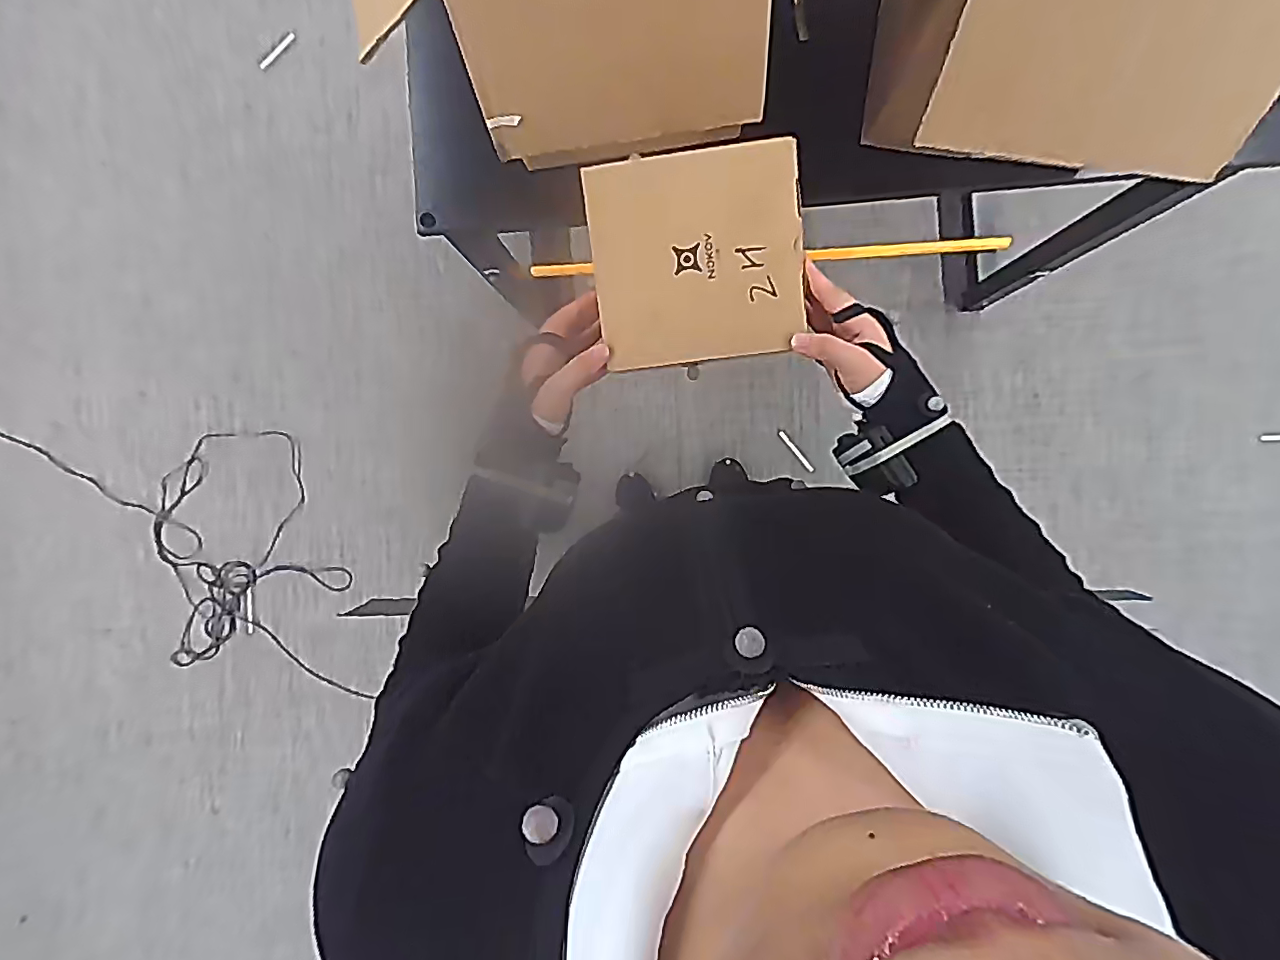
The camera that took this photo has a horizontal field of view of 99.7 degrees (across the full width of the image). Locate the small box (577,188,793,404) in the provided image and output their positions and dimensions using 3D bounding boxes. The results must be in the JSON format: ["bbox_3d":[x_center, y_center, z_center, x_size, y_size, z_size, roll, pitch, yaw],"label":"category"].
[{"bbox_3d":[0.044,-0.168,0.542,0.179,0.176,0.168,-6,101,3],"label":"small box"}]
